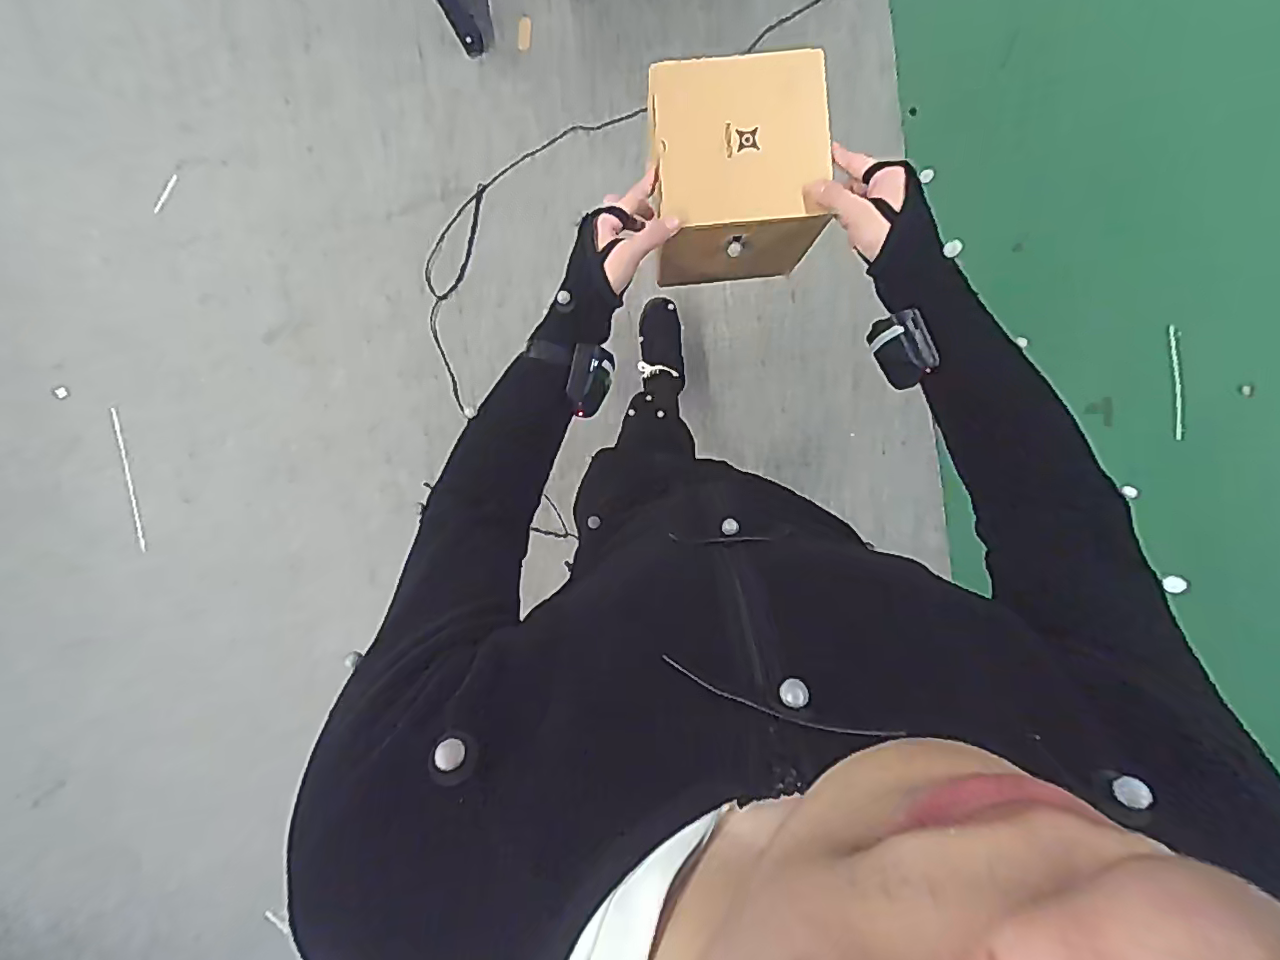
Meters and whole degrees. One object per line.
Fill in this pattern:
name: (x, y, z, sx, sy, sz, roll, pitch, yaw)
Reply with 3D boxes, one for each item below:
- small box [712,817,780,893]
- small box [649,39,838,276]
small box: (0.310, 1.114, 1.573, 0.179, 0.176, 0.168, -9, 92, 6)
small box: (0.104, -0.347, 0.613, 0.179, 0.176, 0.168, -5, 91, 1)
